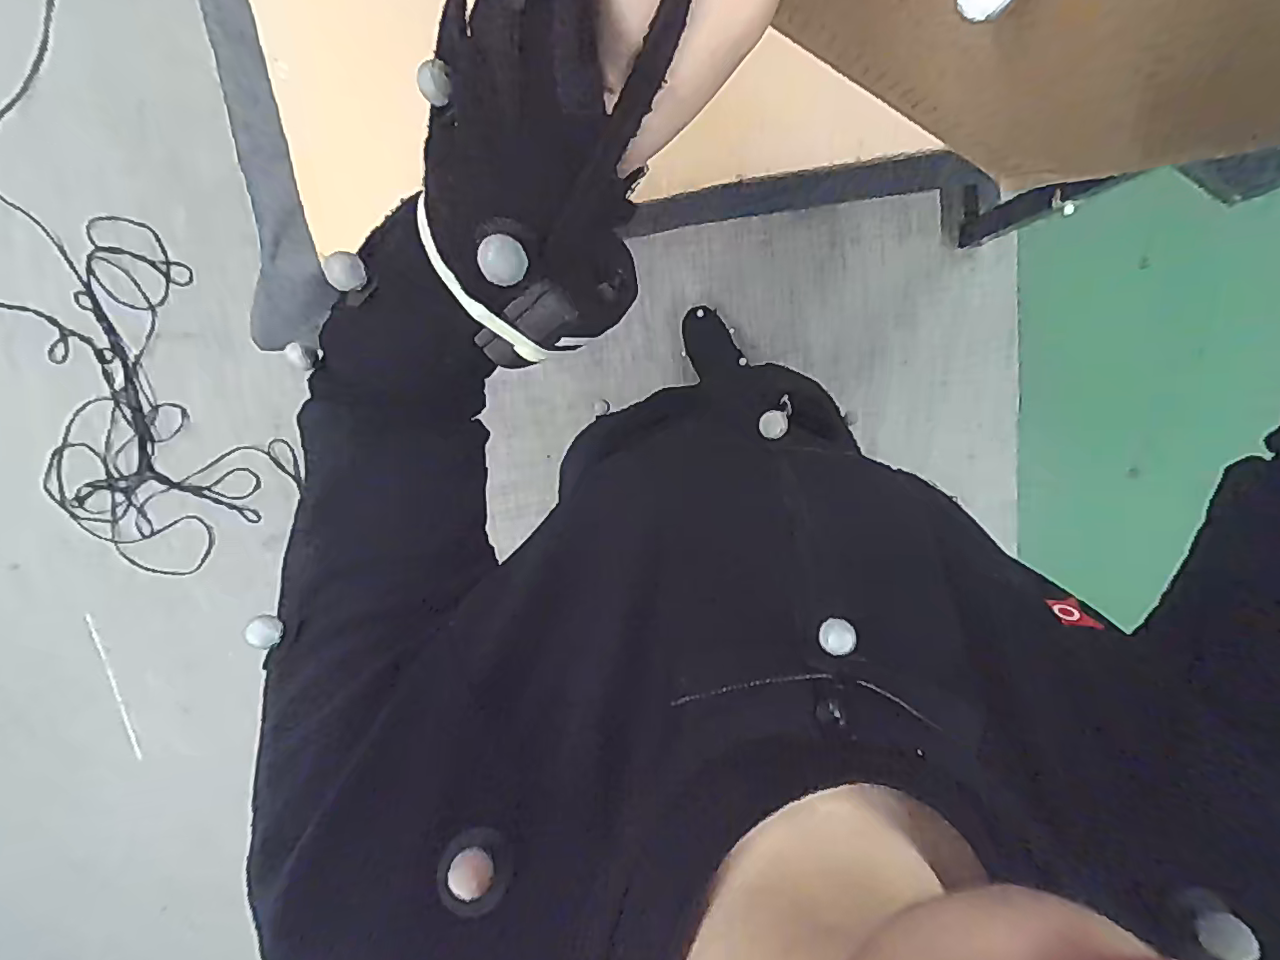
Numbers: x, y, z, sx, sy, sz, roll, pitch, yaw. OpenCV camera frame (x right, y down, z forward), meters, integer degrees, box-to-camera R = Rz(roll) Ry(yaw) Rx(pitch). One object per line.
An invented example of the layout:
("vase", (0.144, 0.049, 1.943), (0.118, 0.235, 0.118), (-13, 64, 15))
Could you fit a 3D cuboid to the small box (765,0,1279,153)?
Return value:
("small box", (0.142, -0.216, 0.143), (0.179, 0.176, 0.168), (27, 112, -8))
